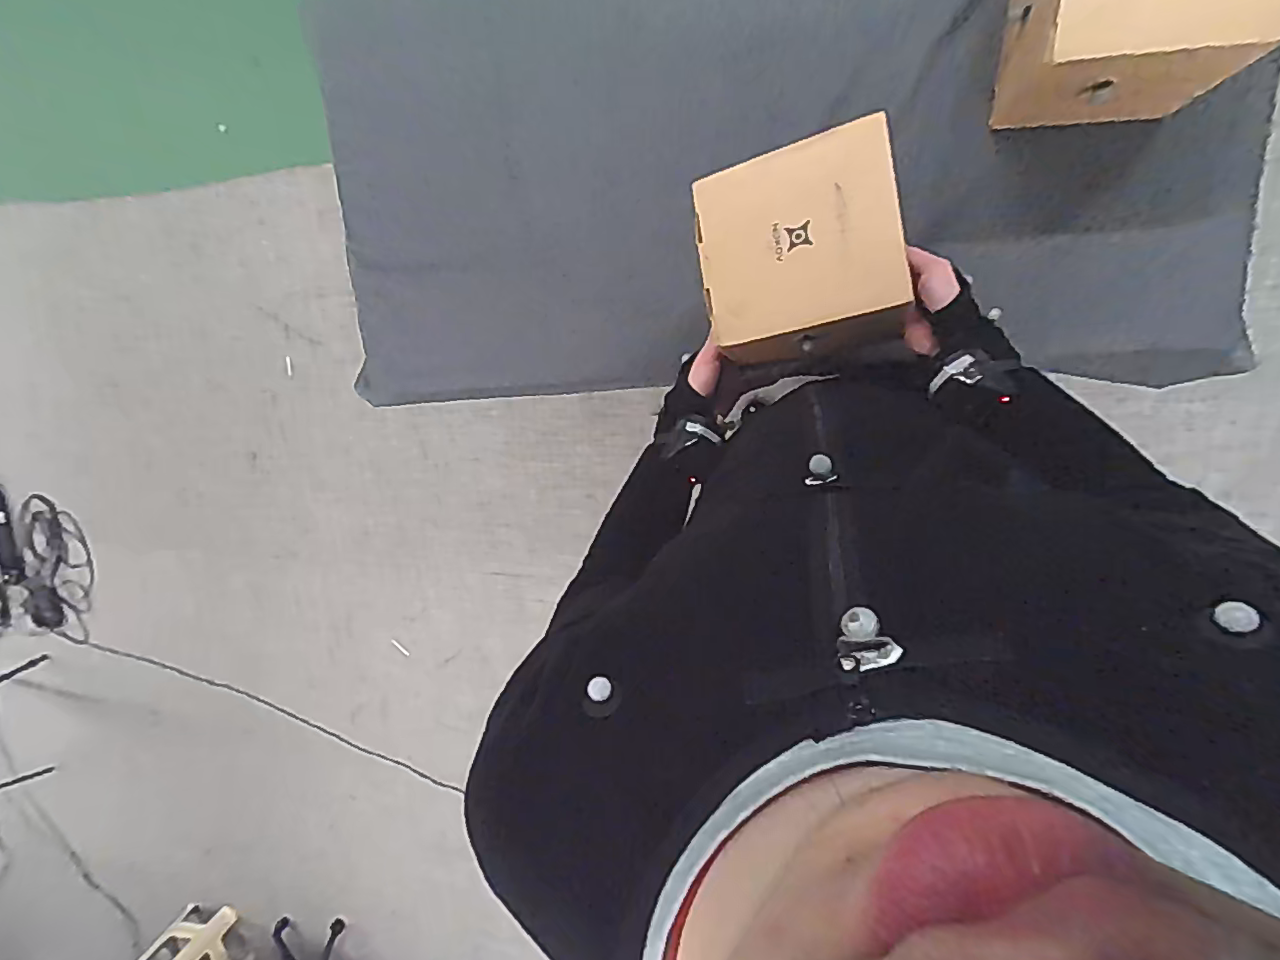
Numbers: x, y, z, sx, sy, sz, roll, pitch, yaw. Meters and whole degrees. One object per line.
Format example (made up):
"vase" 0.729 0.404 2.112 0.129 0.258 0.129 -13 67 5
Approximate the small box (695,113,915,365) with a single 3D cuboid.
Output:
"small box" 0.174 -0.225 0.564 0.179 0.176 0.168 -9 91 22

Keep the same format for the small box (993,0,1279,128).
"small box" 0.474 -0.465 0.525 0.179 0.176 0.168 6 106 16
